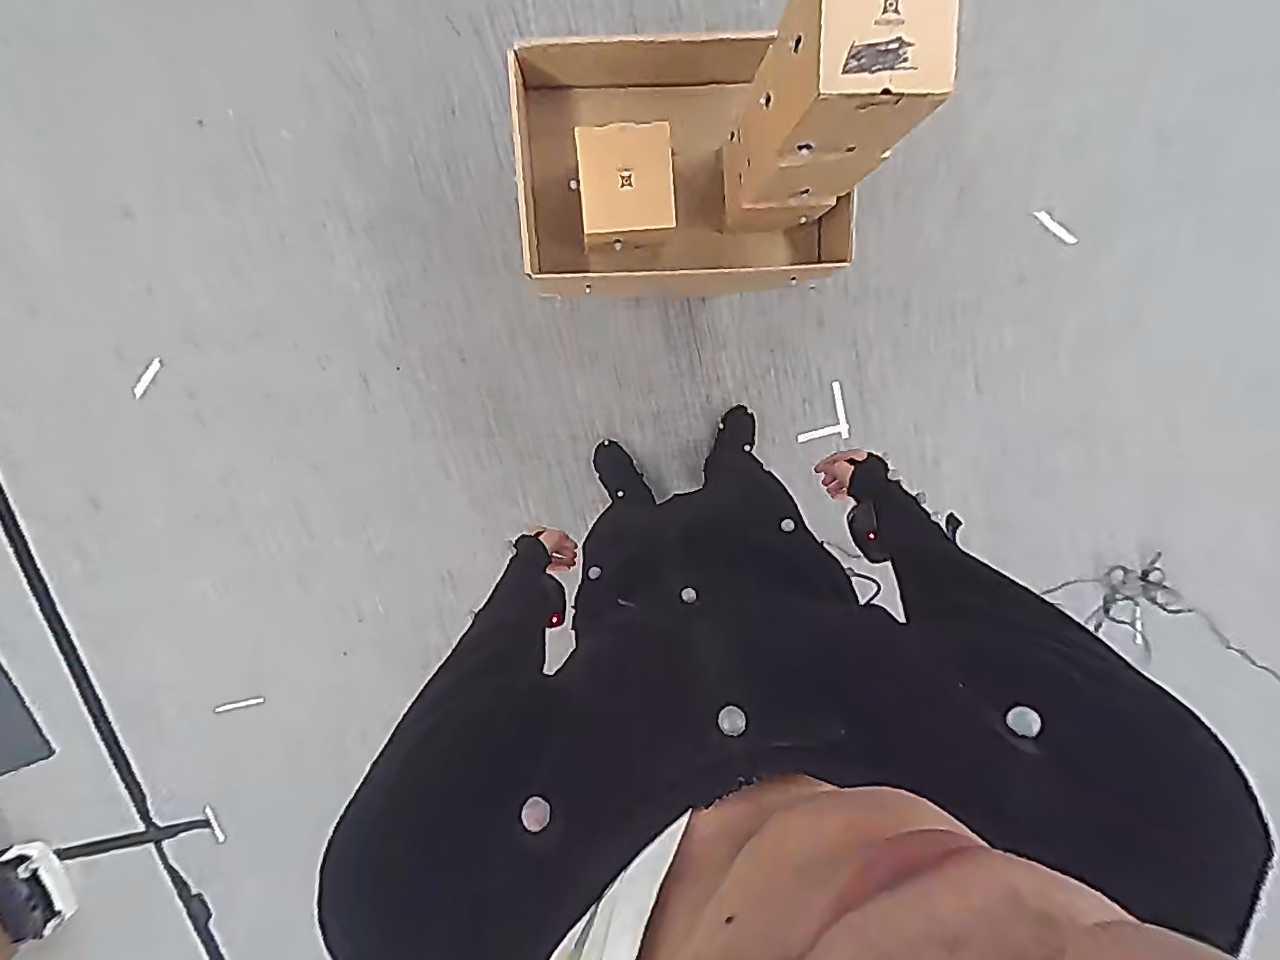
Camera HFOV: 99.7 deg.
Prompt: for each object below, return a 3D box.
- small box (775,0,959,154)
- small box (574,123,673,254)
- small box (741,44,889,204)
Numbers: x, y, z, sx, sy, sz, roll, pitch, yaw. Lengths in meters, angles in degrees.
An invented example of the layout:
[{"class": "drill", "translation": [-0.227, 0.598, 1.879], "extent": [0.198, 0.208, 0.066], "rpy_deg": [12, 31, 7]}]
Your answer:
[{"class": "small box", "translation": [0.279, -0.544, 0.696], "extent": [0.168, 0.176, 0.179], "rpy_deg": [-2, 99, -3]}, {"class": "small box", "translation": [-0.030, -0.534, 1.017], "extent": [0.168, 0.176, 0.179], "rpy_deg": [-5, 99, -3]}, {"class": "small box", "translation": [0.272, -0.557, 0.861], "extent": [0.179, 0.176, 0.168], "rpy_deg": [-6, 100, -3]}]
